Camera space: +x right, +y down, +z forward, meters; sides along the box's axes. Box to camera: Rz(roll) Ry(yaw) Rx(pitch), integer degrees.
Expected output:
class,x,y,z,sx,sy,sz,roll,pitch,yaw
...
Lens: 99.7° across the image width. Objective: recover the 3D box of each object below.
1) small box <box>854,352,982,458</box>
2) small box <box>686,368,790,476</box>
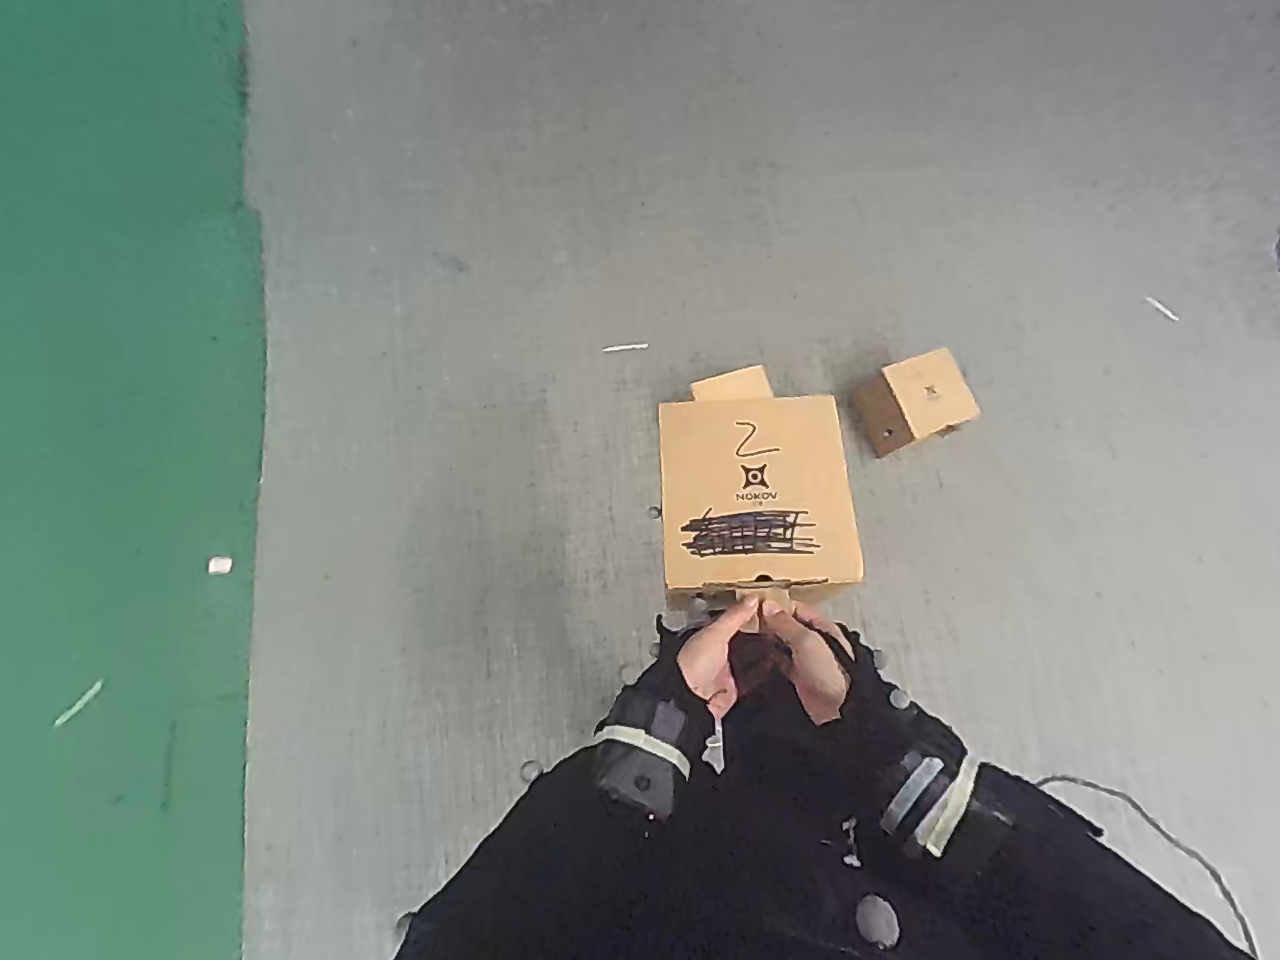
class,x,y,z,sx,sy,sz,roll,pitch,yaw
small box,0.629,-0.163,1.247,0.168,0.176,0.179,-19,78,-8
small box,0.211,-0.125,1.221,0.168,0.176,0.179,-16,79,-6
